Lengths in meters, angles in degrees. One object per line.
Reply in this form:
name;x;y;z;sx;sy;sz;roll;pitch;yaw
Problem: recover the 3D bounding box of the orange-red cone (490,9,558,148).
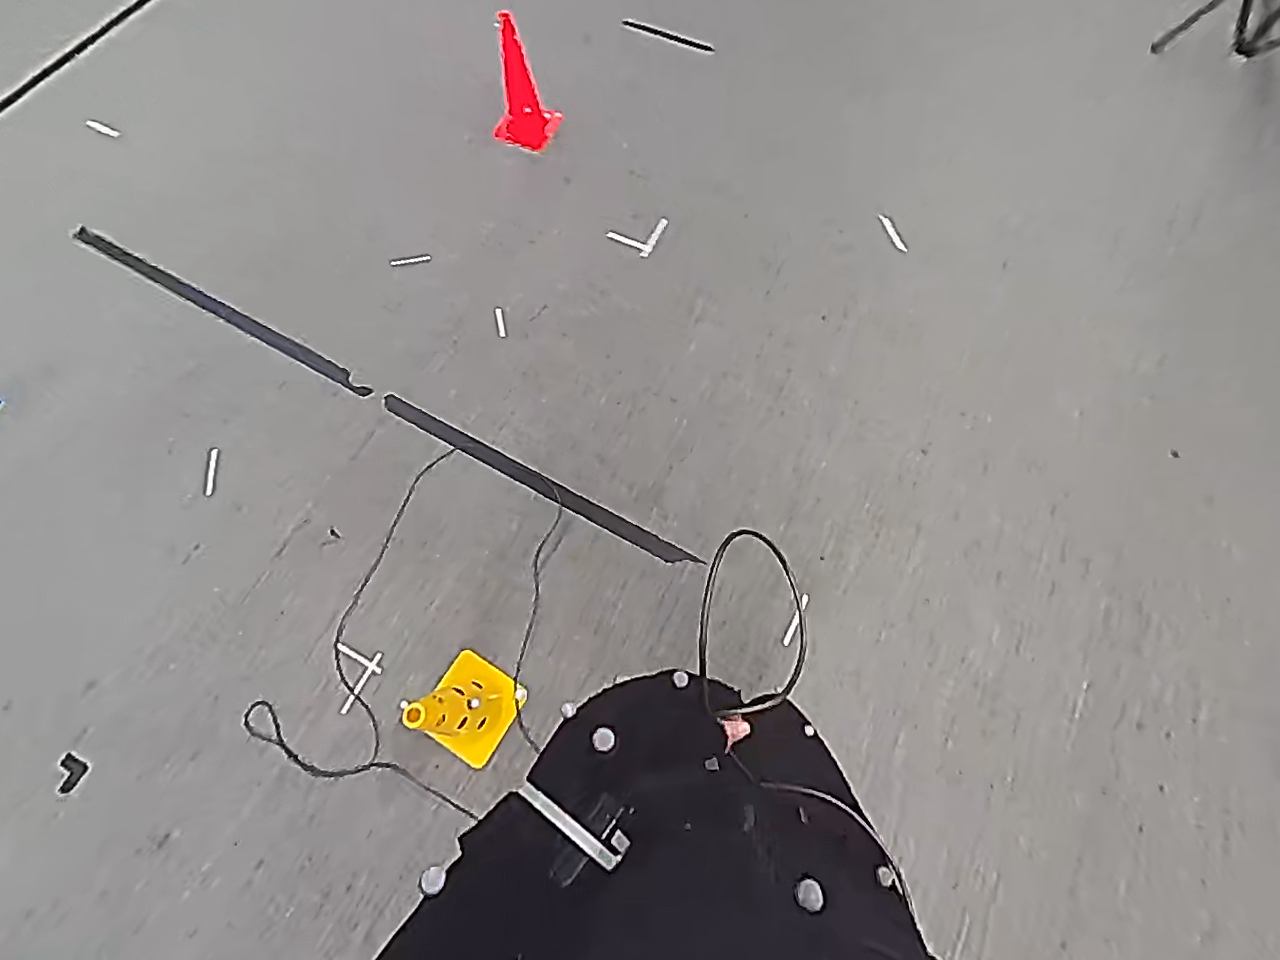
orange-red cone;-0.423;-1.344;1.794;0.199;0.360;0.198;22;71;10
